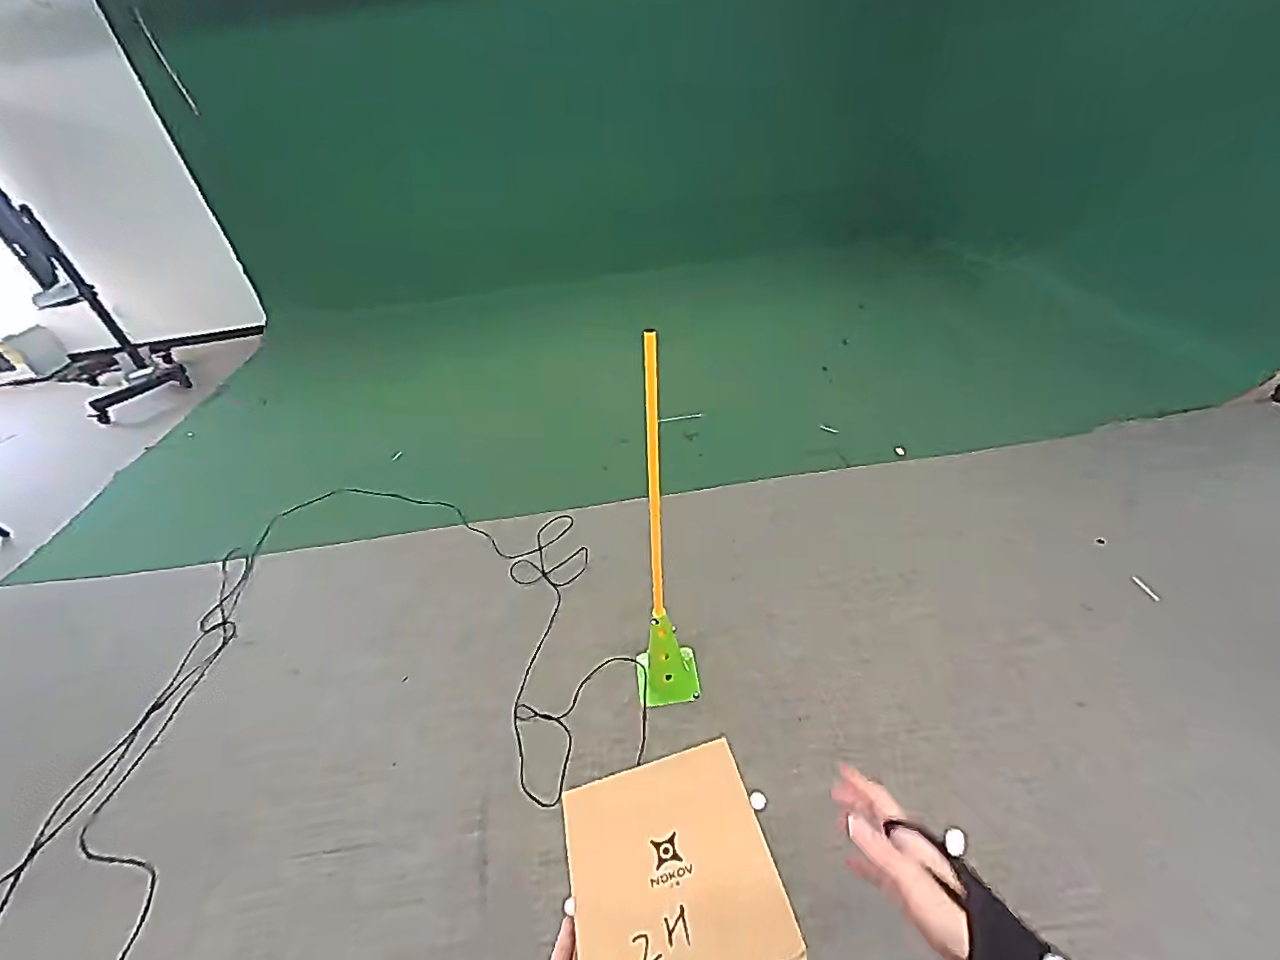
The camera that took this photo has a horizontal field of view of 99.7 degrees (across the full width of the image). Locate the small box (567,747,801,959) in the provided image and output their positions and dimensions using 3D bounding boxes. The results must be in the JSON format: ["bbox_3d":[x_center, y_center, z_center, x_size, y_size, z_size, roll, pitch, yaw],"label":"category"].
[{"bbox_3d":[0.037,0.389,0.494,0.168,0.176,0.179,-16,33,-3],"label":"small box"}]

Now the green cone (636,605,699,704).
[{"bbox_3d":[0.070,0.524,1.731,0.202,0.368,0.200,-9,38,0],"label":"green cone"}]
